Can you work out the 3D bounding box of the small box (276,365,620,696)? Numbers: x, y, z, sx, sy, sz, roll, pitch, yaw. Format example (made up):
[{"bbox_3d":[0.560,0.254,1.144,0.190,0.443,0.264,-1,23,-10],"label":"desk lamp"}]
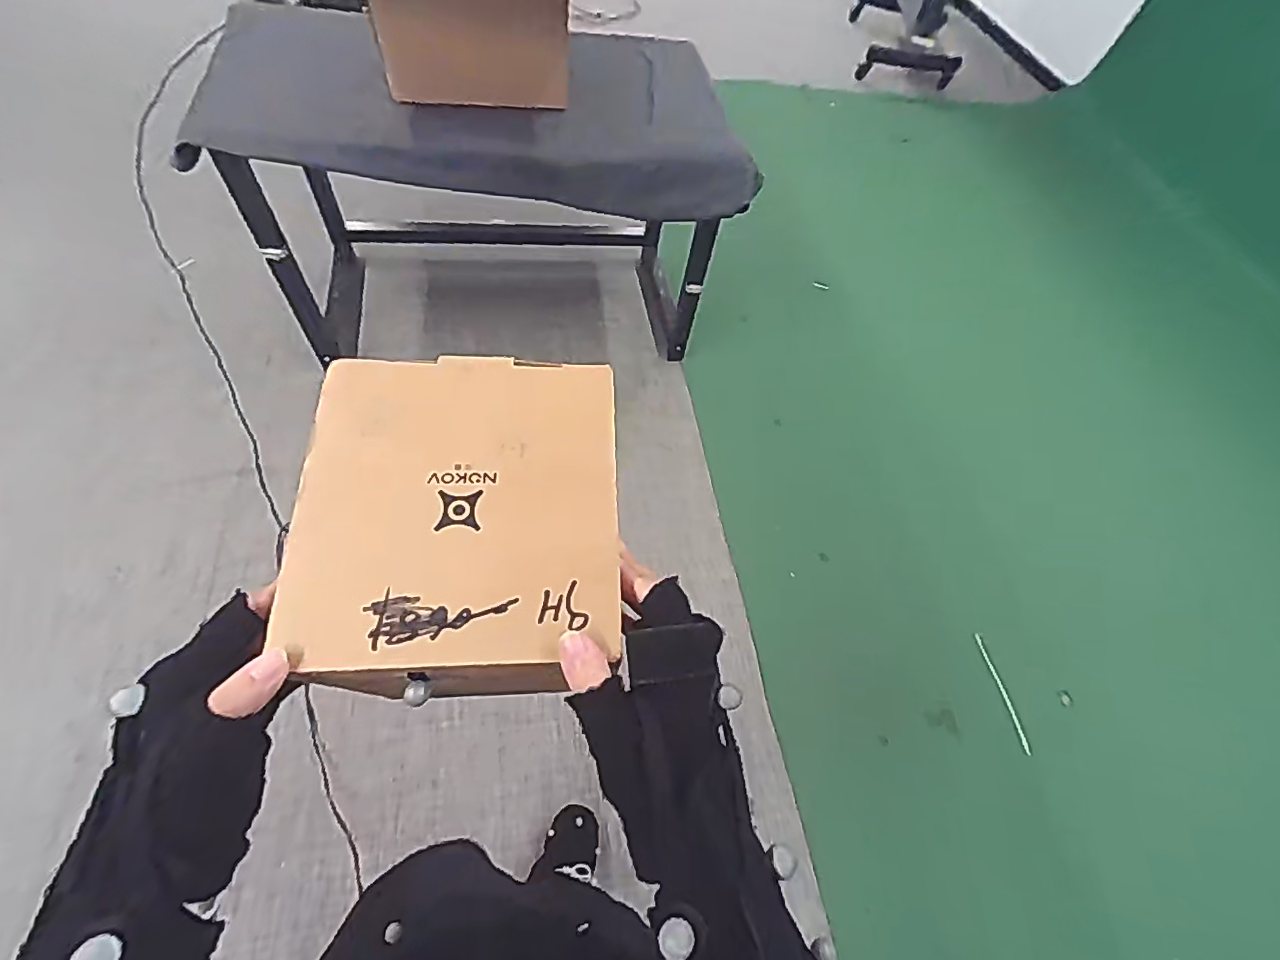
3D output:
[{"bbox_3d":[-0.101,0.043,0.370,0.168,0.176,0.179,-1,63,-5],"label":"small box"}]
